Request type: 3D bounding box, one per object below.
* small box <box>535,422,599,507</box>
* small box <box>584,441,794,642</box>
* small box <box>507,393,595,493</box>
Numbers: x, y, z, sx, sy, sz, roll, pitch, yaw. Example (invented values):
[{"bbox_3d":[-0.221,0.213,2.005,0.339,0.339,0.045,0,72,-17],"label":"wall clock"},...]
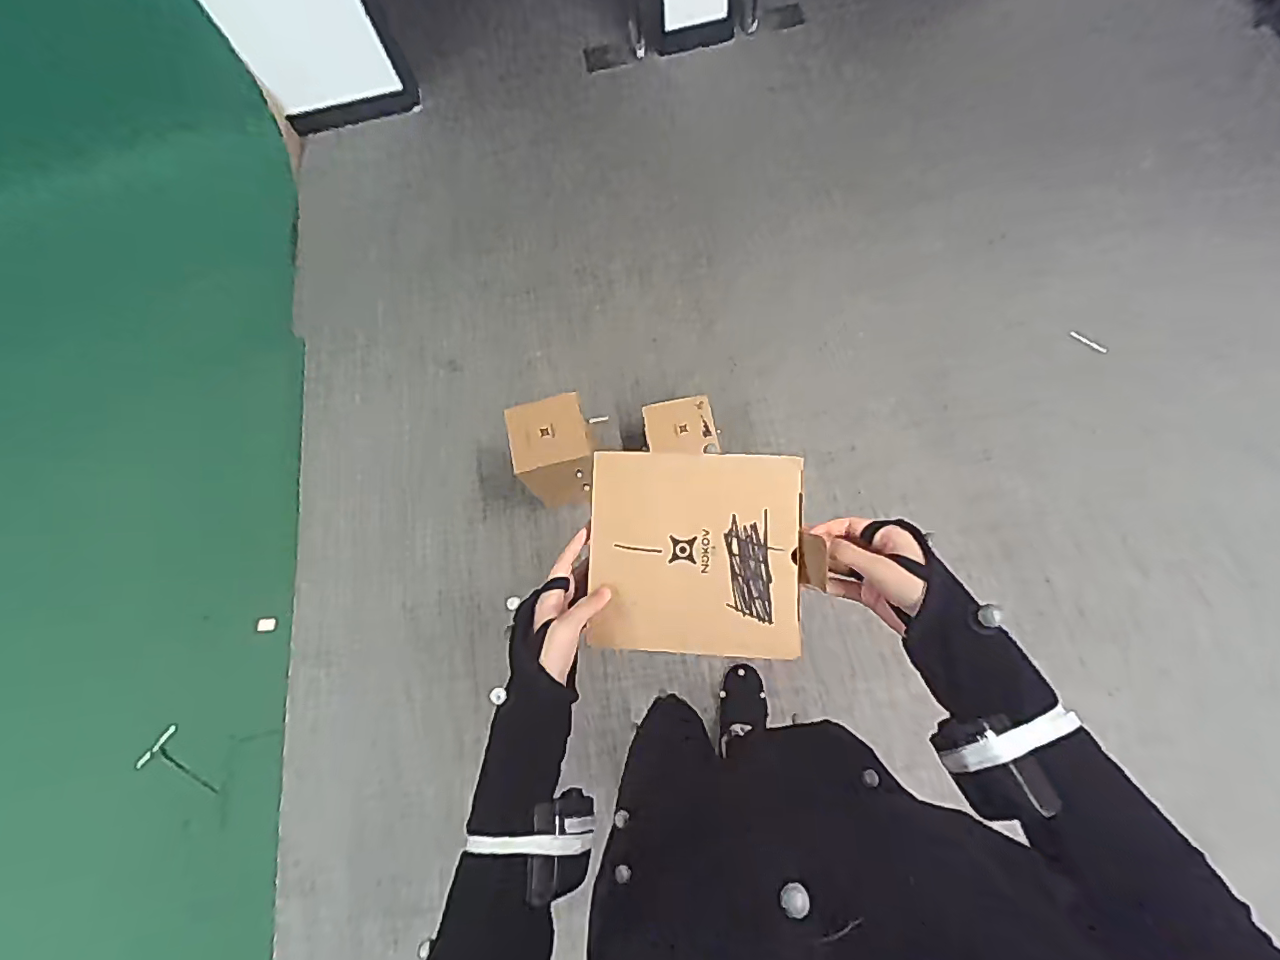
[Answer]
[{"bbox_3d":[-0.191,-0.041,1.460,0.179,0.176,0.168,-14,71,2],"label":"small box"},{"bbox_3d":[0.050,0.056,0.540,0.179,0.176,0.168,1,85,7],"label":"small box"},{"bbox_3d":[-0.201,-0.083,1.302,0.179,0.176,0.168,-14,70,2],"label":"small box"}]
